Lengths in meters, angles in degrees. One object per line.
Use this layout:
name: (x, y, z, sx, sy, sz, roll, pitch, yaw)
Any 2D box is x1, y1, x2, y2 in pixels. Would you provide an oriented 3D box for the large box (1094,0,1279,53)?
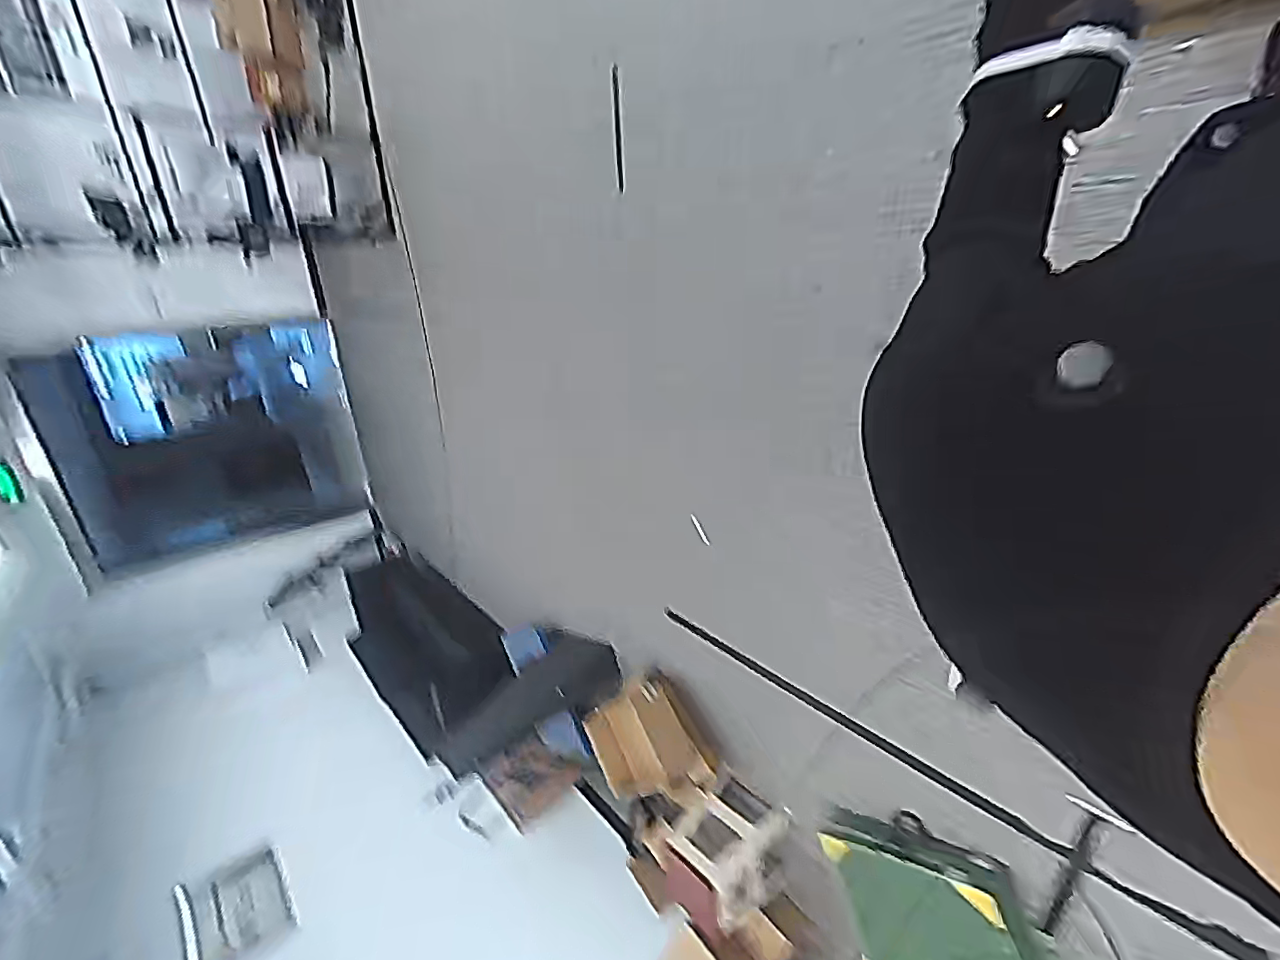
large box: (0.546, -0.481, 0.287, 0.408, 0.320, 0.320, 17, 128, 41)
